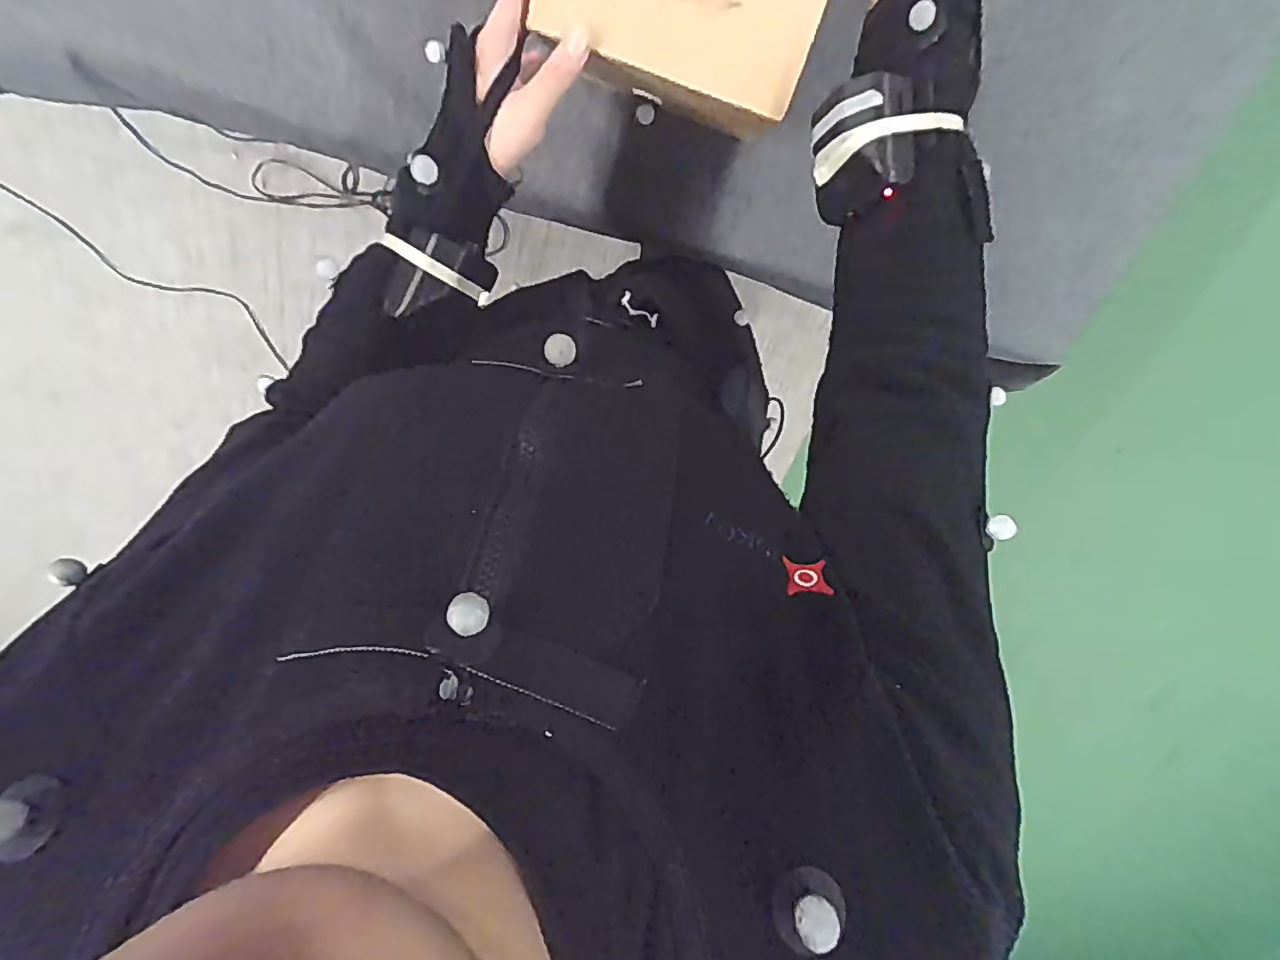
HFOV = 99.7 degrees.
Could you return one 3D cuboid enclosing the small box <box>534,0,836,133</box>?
[{"bbox_3d":[0.046,-0.352,0.349,0.168,0.176,0.179,17,120,-4],"label":"small box"}]
